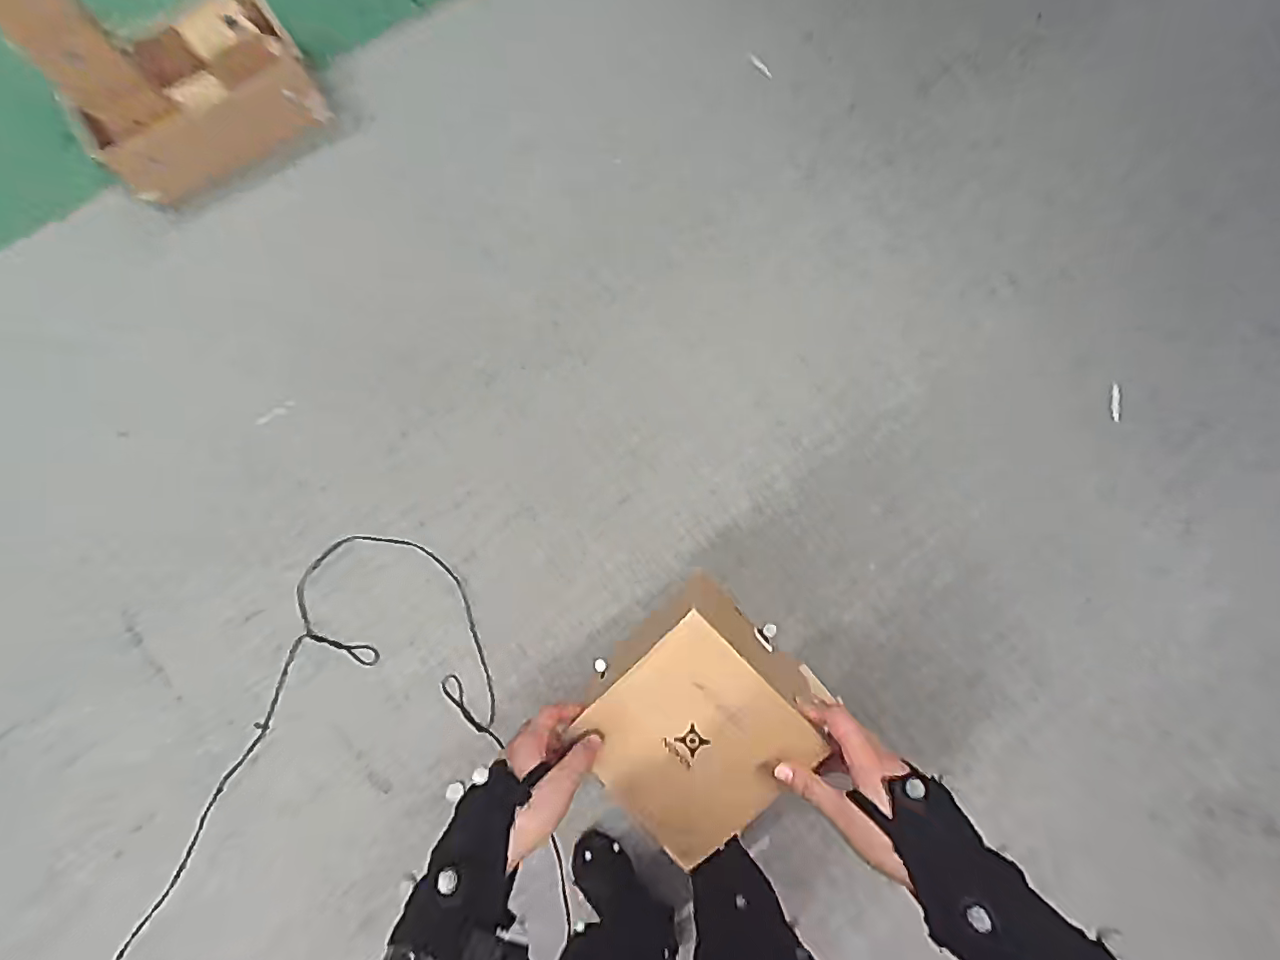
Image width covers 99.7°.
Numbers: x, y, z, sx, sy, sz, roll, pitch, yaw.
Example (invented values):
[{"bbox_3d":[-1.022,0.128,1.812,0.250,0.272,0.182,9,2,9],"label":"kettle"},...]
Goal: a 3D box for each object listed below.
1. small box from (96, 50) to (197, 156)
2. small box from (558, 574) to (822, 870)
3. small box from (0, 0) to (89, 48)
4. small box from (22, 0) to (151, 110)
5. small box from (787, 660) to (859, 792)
[{"bbox_3d":[-1.456,-1.090,1.579,0.168,0.176,0.179,-35,77,-8],"label":"small box"},{"bbox_3d":[0.050,0.224,0.548,0.168,0.176,0.179,44,98,2],"label":"small box"},{"bbox_3d":[-1.454,-1.172,1.260,0.179,0.176,0.168,-34,76,-8],"label":"small box"},{"bbox_3d":[-1.459,-1.123,1.418,0.179,0.176,0.168,-34,77,-8],"label":"small box"},{"bbox_3d":[0.309,0.496,1.118,0.179,0.176,0.168,-38,76,-8],"label":"small box"}]
